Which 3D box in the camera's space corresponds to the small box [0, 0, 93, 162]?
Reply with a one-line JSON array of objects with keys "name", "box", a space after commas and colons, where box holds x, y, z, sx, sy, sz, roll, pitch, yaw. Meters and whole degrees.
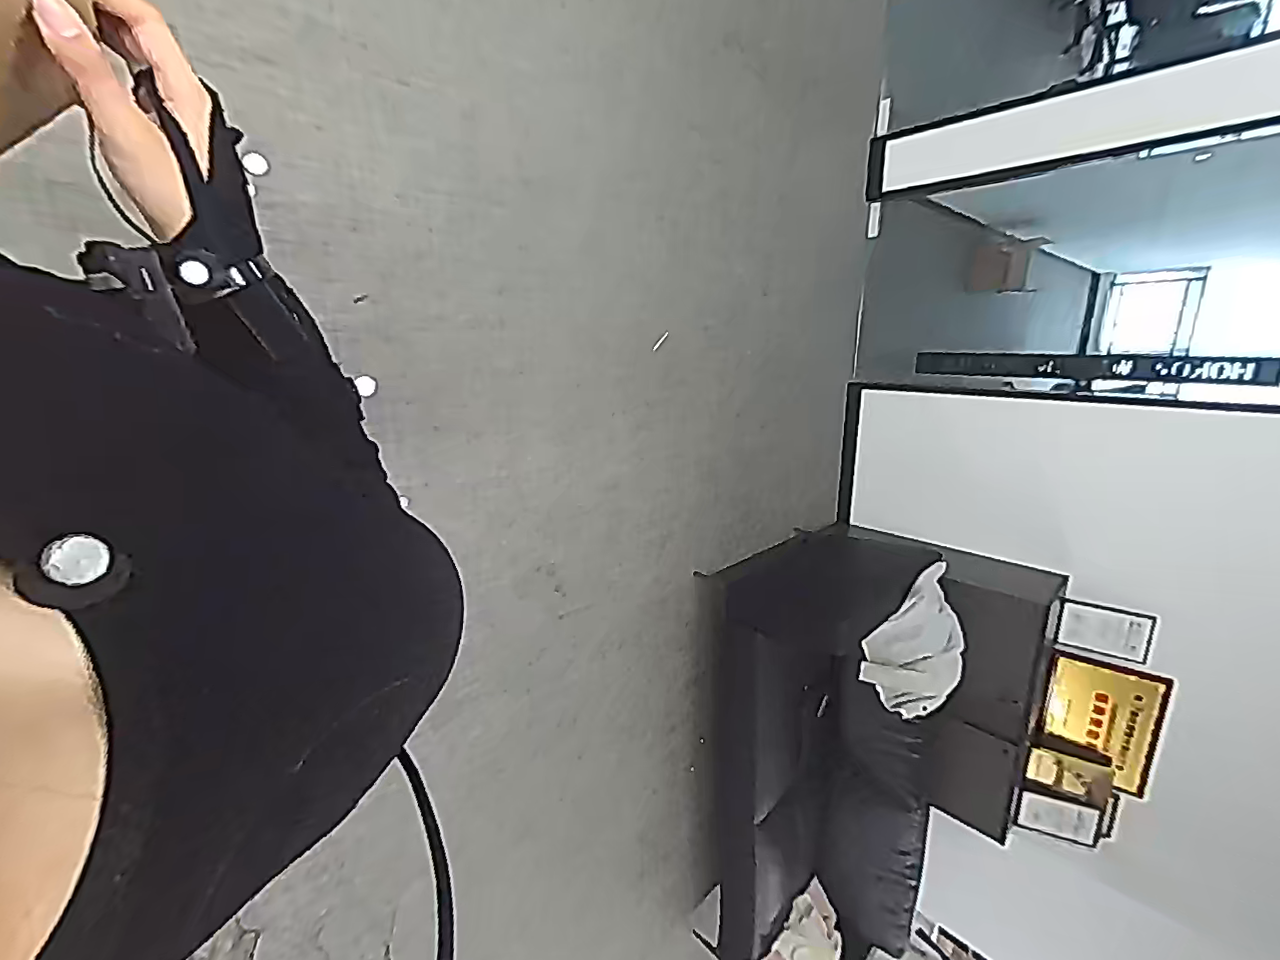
[{"name": "small box", "box": [-0.360, -0.209, 0.197, 0.168, 0.176, 0.179, 46, 69, -37]}]
